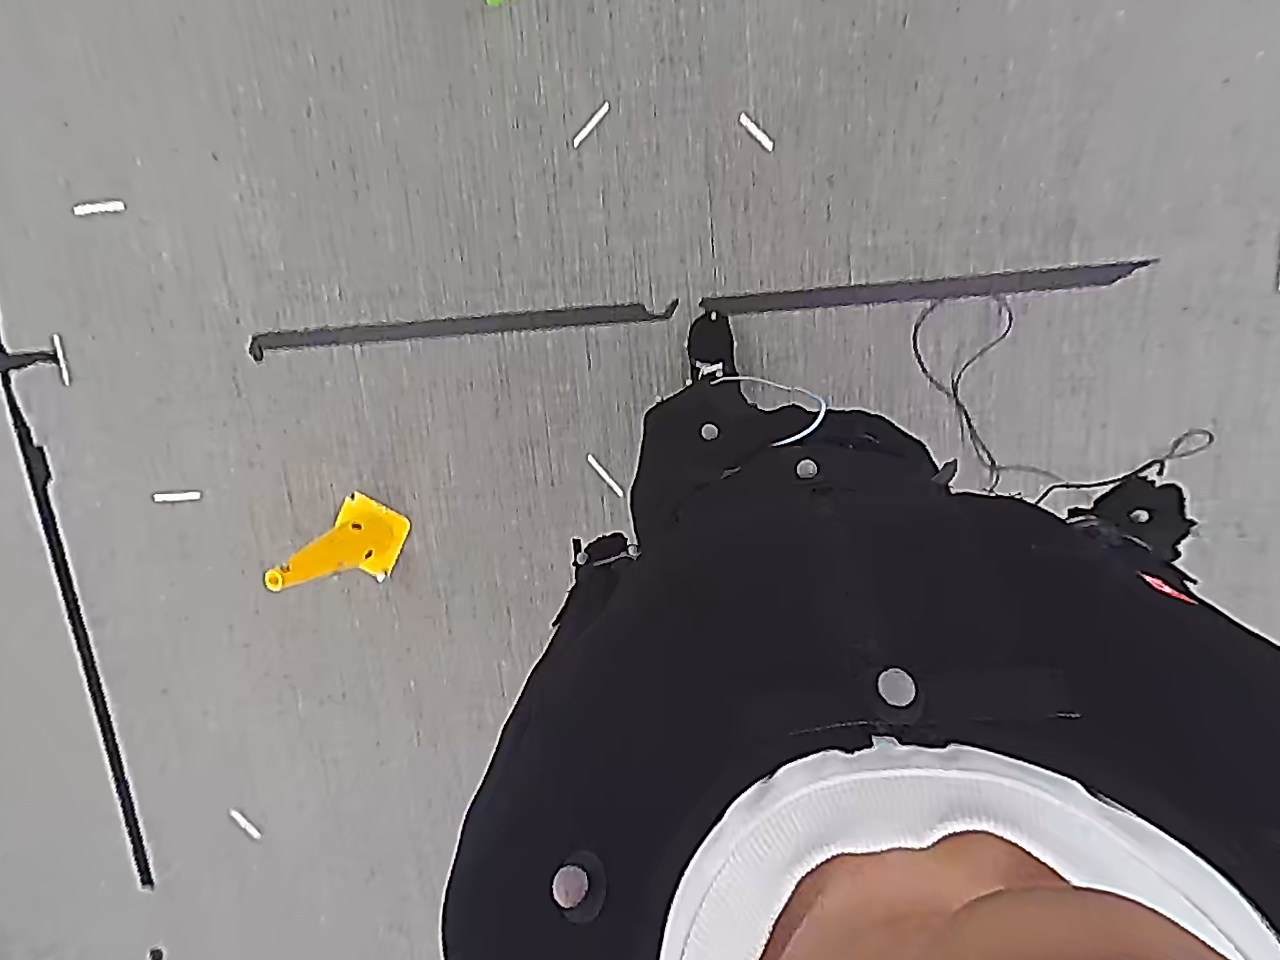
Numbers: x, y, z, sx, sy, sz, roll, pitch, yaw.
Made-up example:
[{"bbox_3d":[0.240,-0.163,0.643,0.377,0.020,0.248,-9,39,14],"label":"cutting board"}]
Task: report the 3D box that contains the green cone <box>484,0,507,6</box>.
[{"bbox_3d":[-0.317,-1.209,1.087,0.202,0.368,0.200,-19,97,7],"label":"green cone"}]
